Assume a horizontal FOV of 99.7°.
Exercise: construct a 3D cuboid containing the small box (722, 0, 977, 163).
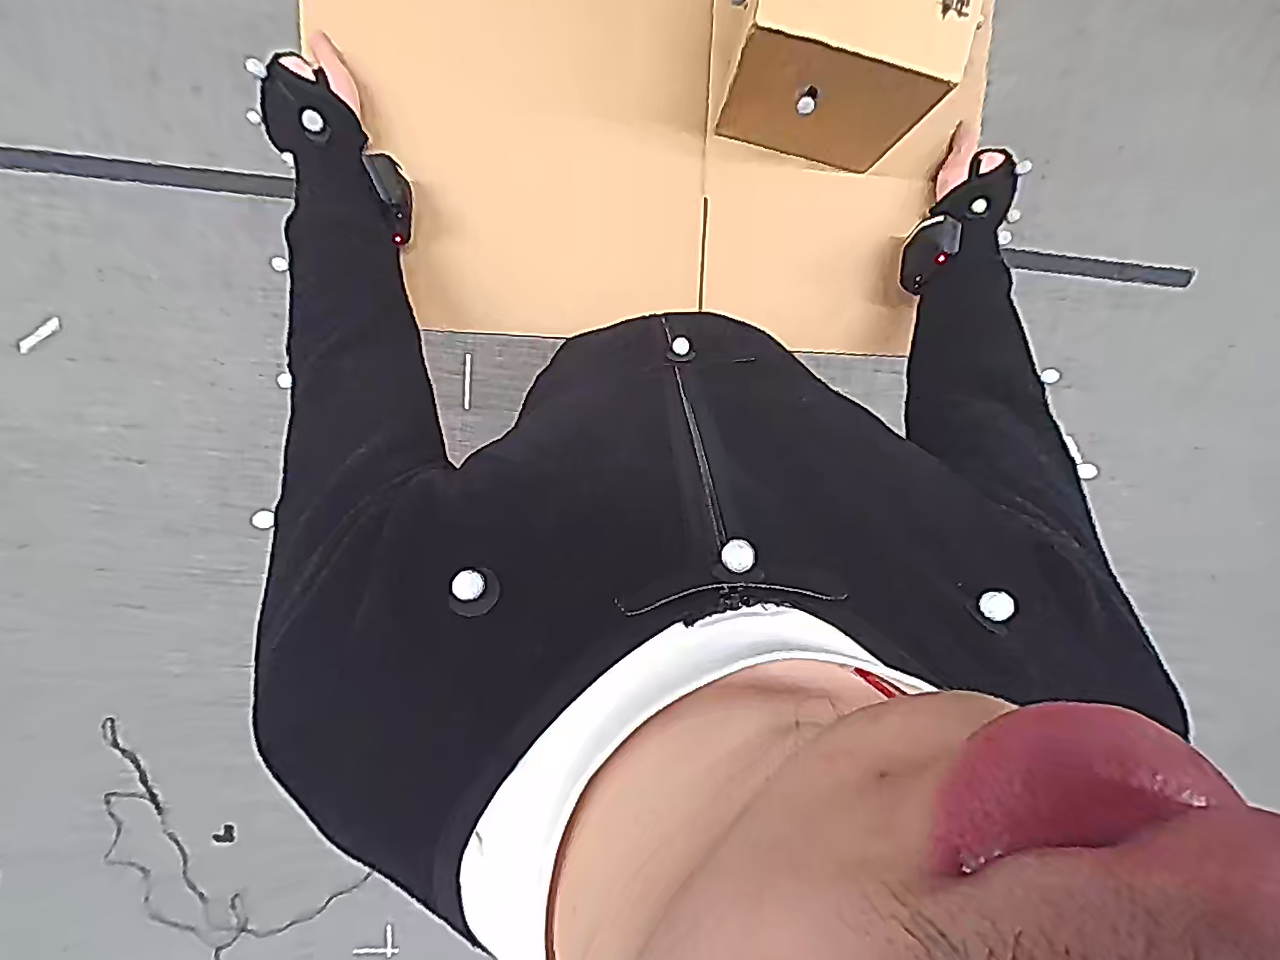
[{"bbox_3d":[0.186,-0.428,0.501,0.179,0.176,0.168,13,97,-3],"label":"small box"}]
